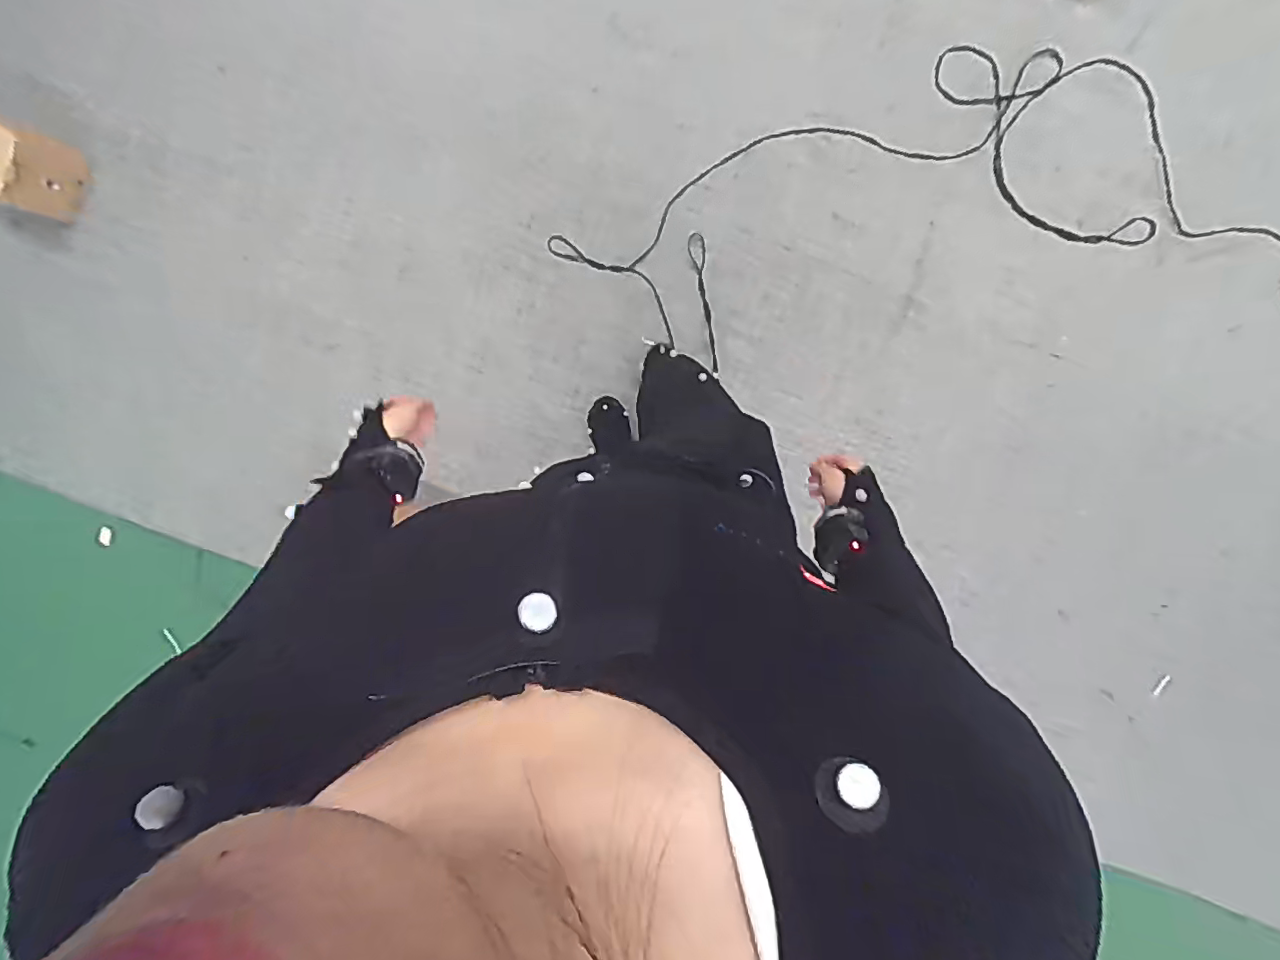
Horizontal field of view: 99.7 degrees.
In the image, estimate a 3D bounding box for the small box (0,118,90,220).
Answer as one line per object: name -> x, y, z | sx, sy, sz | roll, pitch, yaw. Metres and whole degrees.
small box -> -1.493, -0.749, 1.291 | 0.179, 0.176, 0.168 | 32, 101, -5
